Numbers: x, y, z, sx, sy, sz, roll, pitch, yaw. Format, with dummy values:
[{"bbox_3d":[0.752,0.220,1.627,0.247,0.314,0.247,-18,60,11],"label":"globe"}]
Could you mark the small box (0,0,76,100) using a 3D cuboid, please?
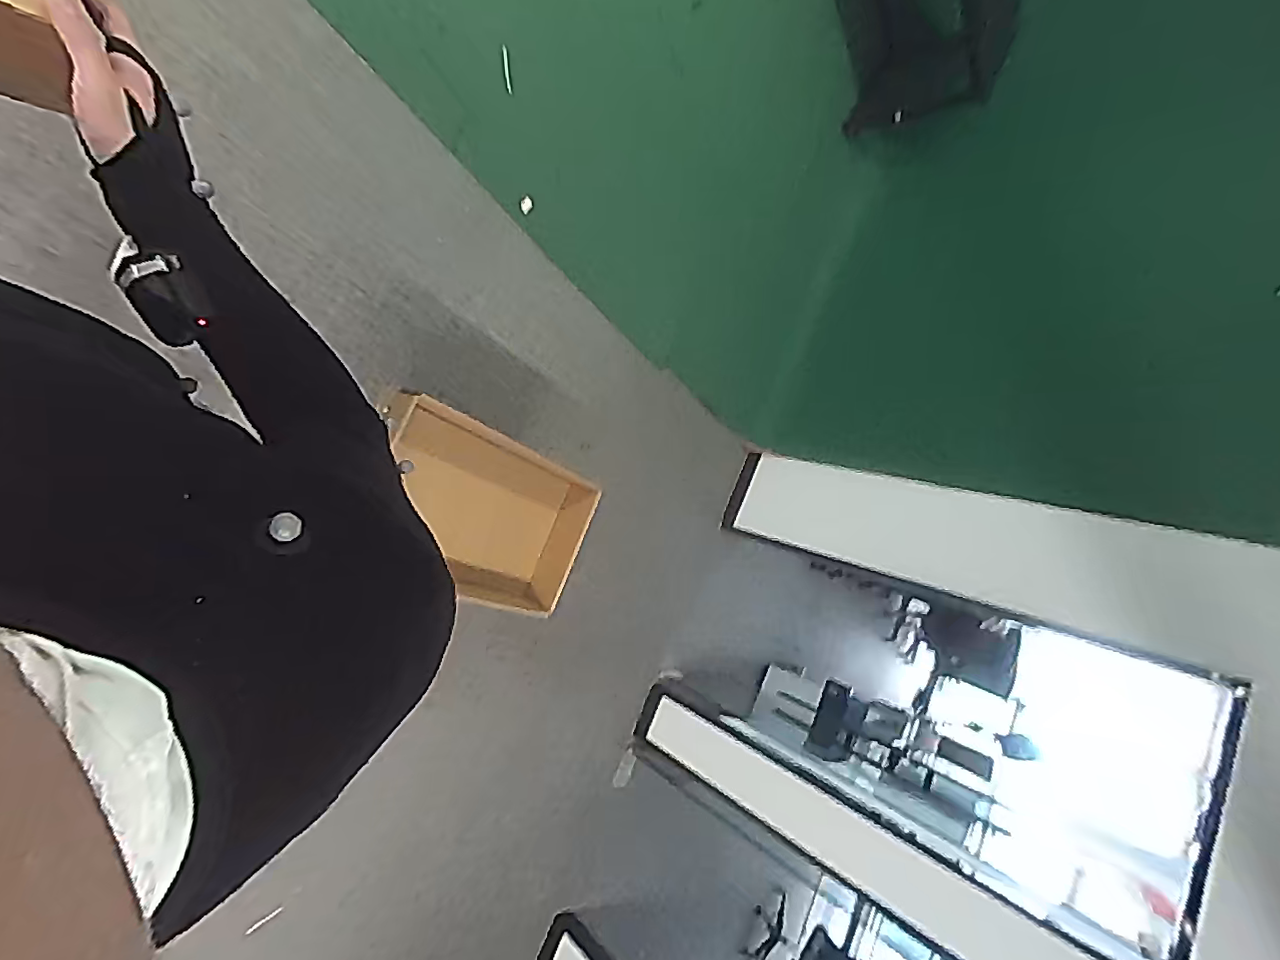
[{"bbox_3d":[-0.512,-0.417,0.373,0.168,0.176,0.179,-3,98,-45],"label":"small box"}]
